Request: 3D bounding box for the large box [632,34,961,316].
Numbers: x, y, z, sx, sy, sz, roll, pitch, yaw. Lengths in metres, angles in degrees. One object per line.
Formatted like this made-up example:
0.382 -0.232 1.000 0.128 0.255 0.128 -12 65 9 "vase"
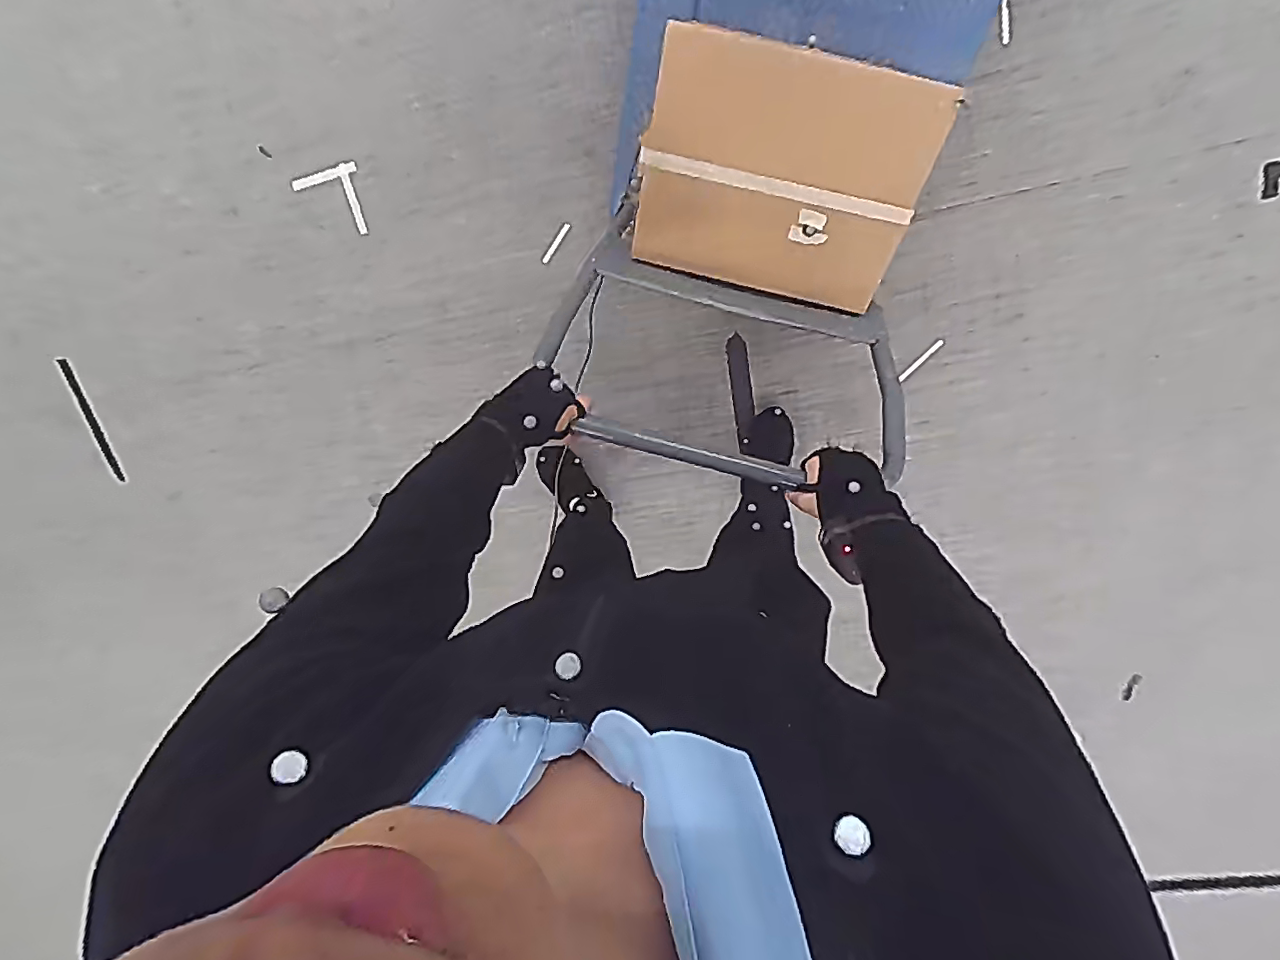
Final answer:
0.224 -0.521 0.915 0.408 0.320 0.320 14 131 1 "large box"
